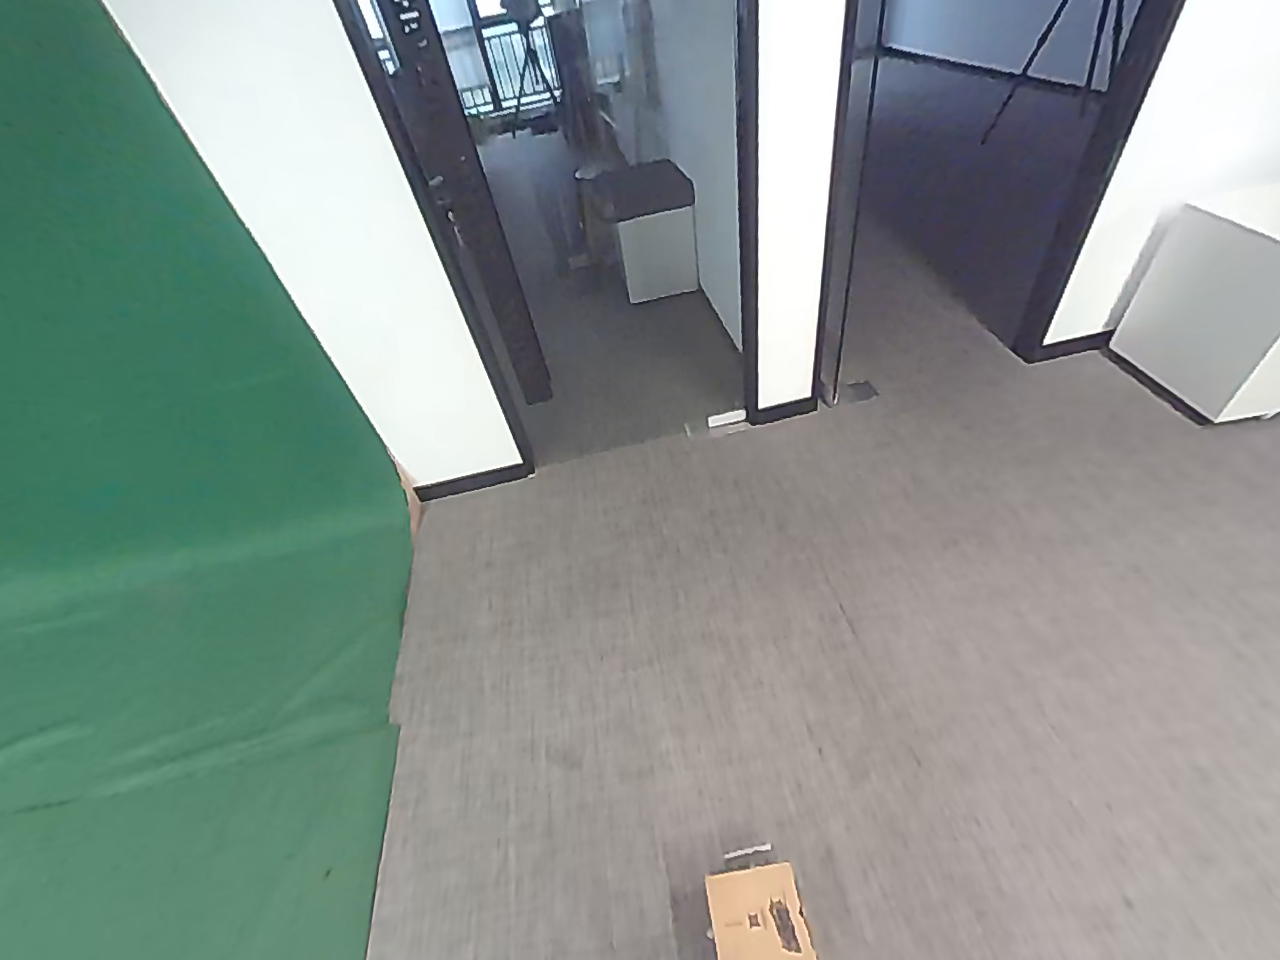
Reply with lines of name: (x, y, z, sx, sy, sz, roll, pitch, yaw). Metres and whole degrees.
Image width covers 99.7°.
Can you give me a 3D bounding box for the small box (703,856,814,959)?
small box: (0.230, 0.876, 1.080, 0.179, 0.176, 0.168, -12, 44, 2)
